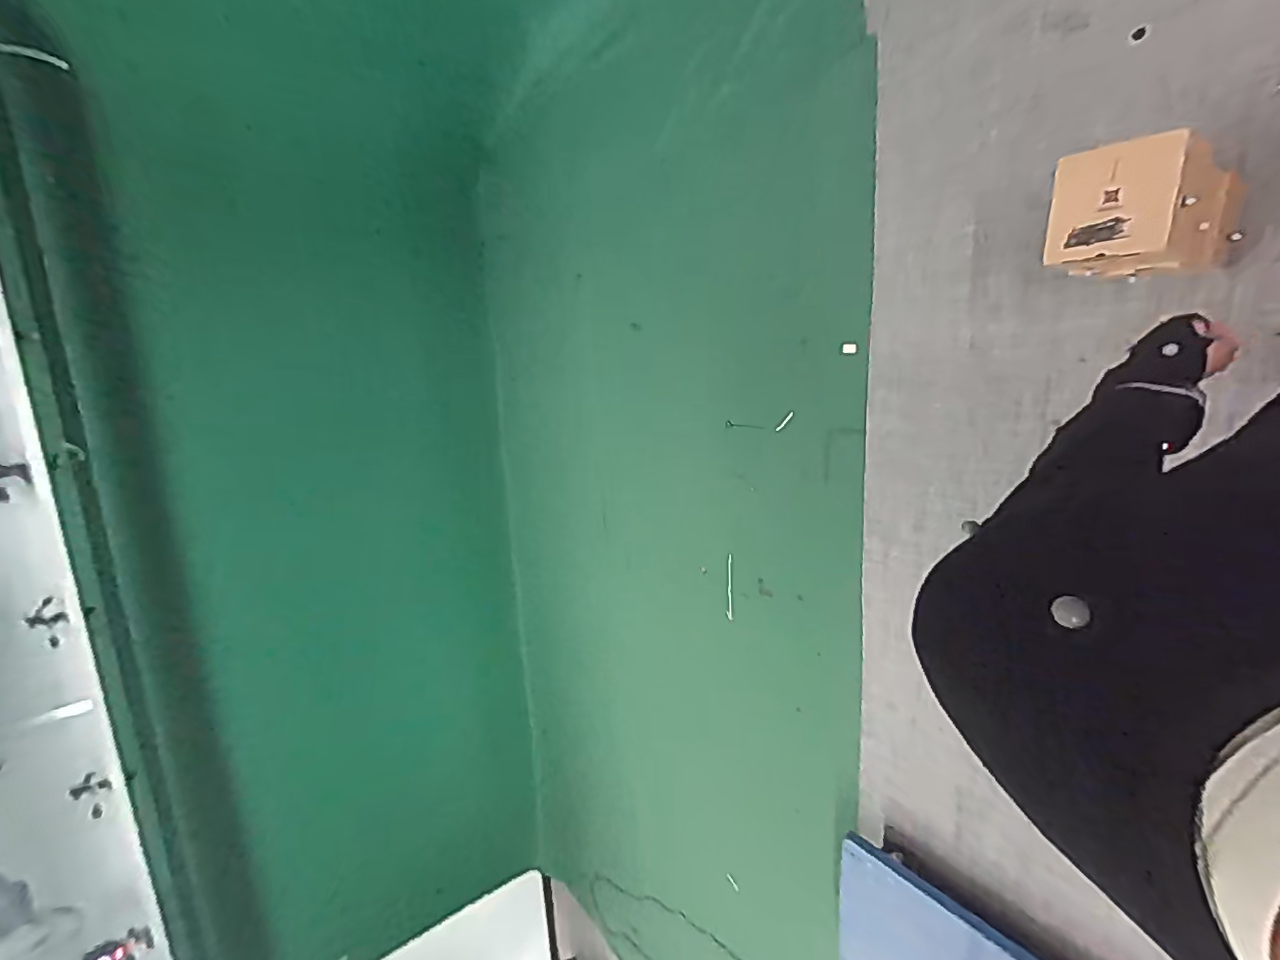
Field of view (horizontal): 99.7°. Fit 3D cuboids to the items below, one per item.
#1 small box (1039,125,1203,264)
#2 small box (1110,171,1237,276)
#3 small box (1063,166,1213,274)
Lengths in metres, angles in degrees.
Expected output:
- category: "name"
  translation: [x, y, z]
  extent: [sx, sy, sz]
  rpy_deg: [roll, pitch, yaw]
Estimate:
- category: "small box"
  translation: [0.826, -0.474, 0.931]
  extent: [0.168, 0.176, 0.179]
  rpy_deg: [17, 113, 51]
- category: "small box"
  translation: [1.086, -0.523, 1.126]
  extent: [0.179, 0.176, 0.168]
  rpy_deg: [19, 115, 50]
- category: "small box"
  translation: [0.952, -0.494, 1.036]
  extent: [0.168, 0.176, 0.179]
  rpy_deg: [19, 115, 51]
